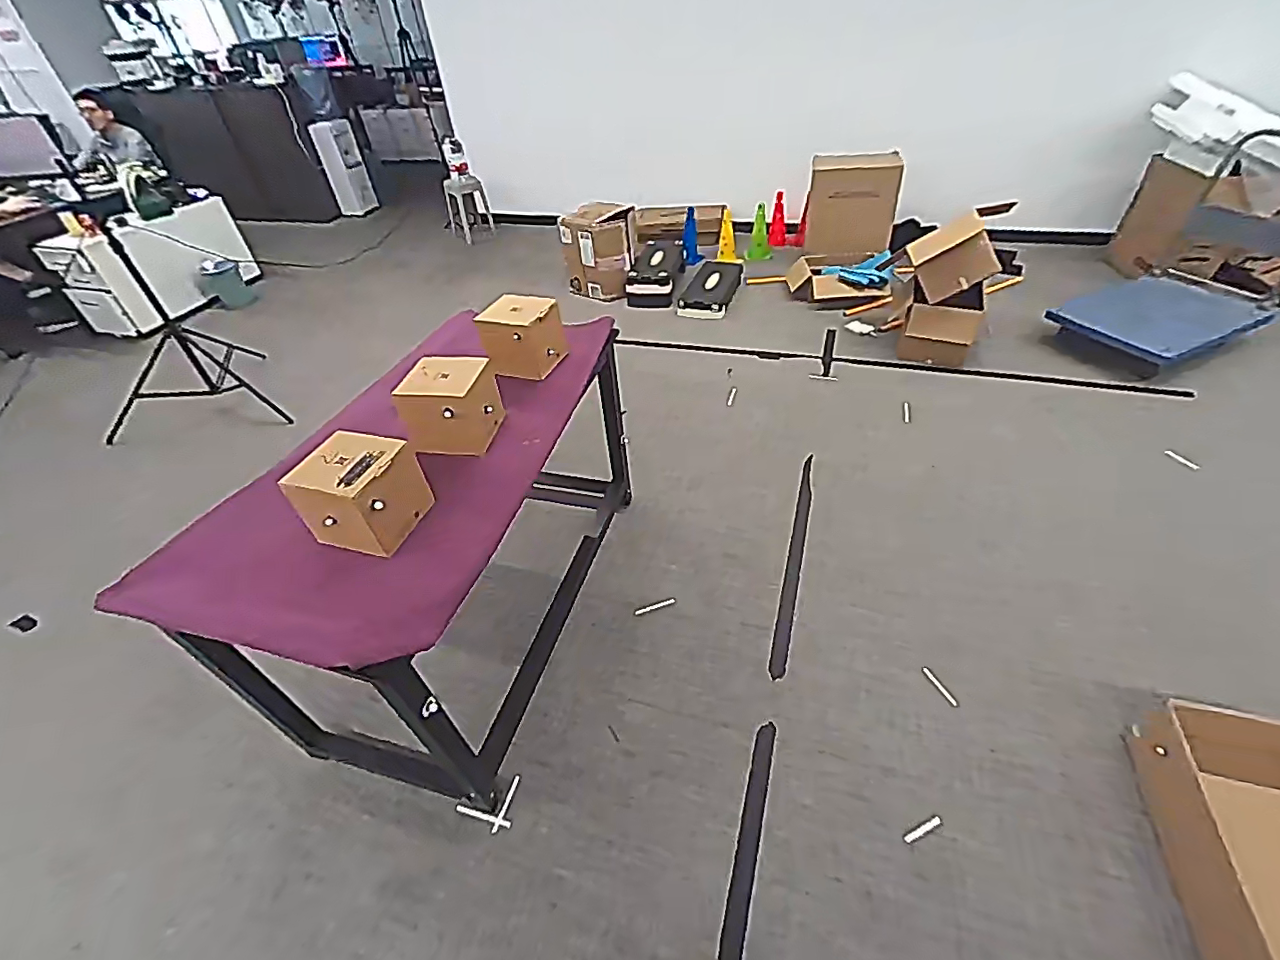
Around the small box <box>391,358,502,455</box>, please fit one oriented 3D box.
[{"bbox_3d":[-0.447,-0.173,1.288,0.179,0.176,0.168,2,42,9],"label":"small box"}]

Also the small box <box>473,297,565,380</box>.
[{"bbox_3d":[-0.333,-0.398,1.524,0.179,0.176,0.168,11,45,19],"label":"small box"}]
